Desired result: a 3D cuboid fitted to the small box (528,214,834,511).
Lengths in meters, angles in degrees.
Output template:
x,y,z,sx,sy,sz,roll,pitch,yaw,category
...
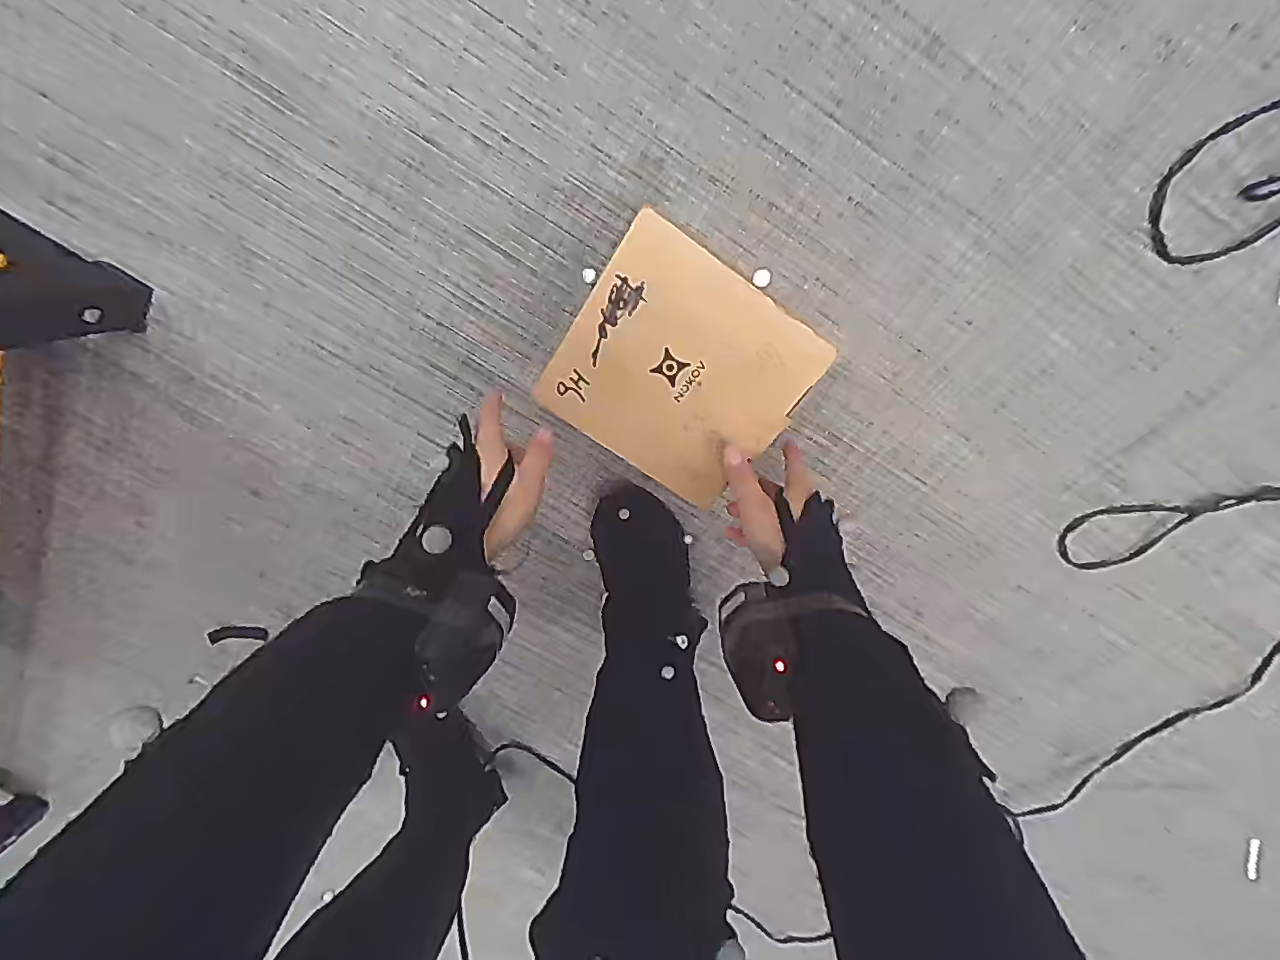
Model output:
x,y,z,sx,sy,sz,roll,pitch,yaw,category
0.034,-0.111,0.479,0.179,0.176,0.168,33,113,-10,small box
